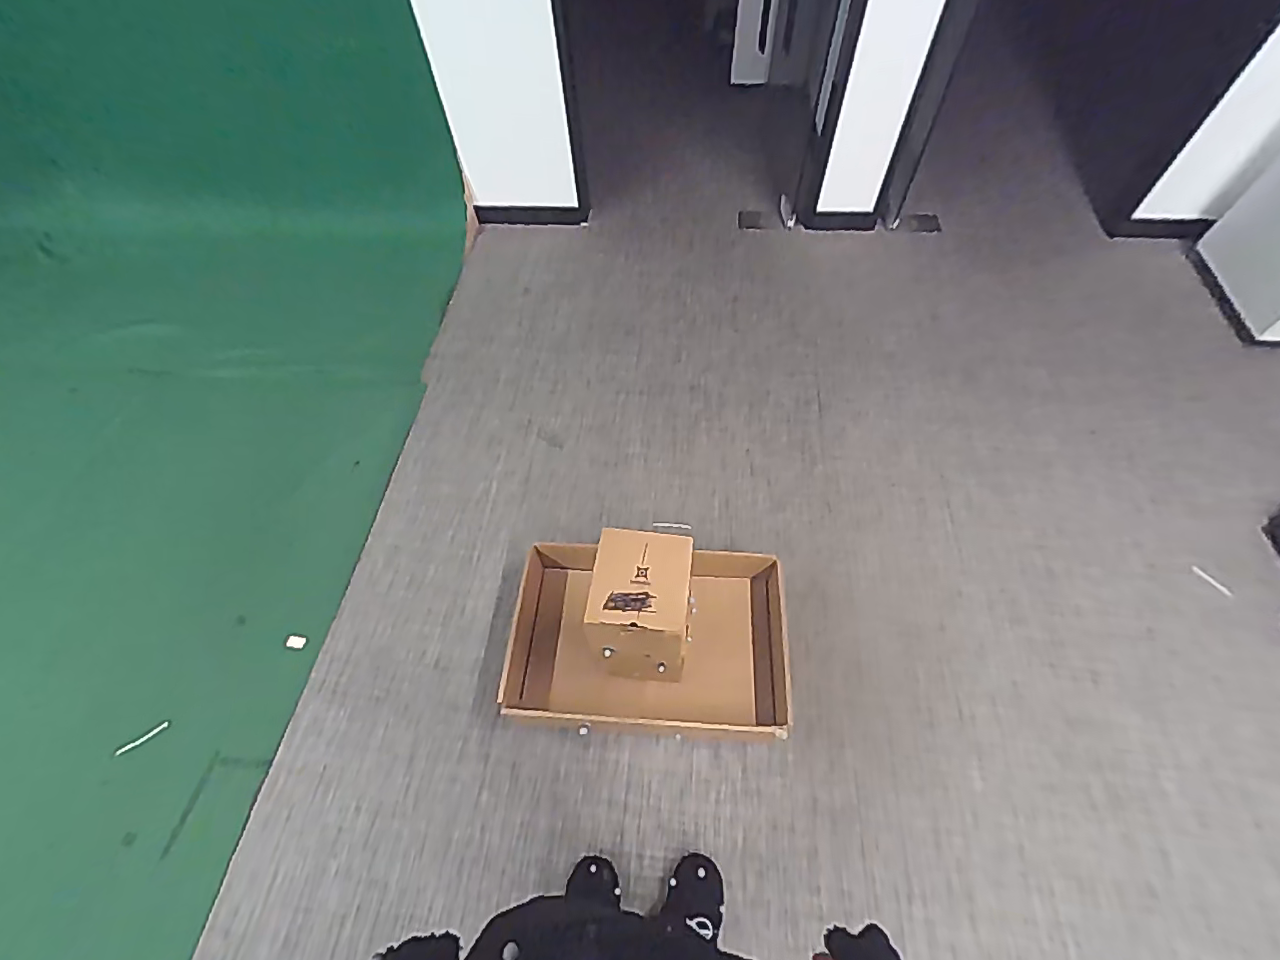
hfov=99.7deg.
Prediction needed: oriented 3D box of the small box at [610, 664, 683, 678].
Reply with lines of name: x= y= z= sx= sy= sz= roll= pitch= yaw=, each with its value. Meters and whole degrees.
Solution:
small box: x=0.015 y=0.361 z=1.275 sx=0.179 sy=0.176 sz=0.168 roll=2 pitch=57 yaw=3

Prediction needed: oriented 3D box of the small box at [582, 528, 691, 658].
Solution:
small box: x=0.001 y=0.209 z=0.982 sx=0.168 sy=0.176 sz=0.179 roll=6 pitch=56 yaw=6

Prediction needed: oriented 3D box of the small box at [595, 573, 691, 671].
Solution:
small box: x=0.010 y=0.288 z=1.108 sx=0.179 sy=0.176 sz=0.168 roll=2 pitch=58 yaw=3
